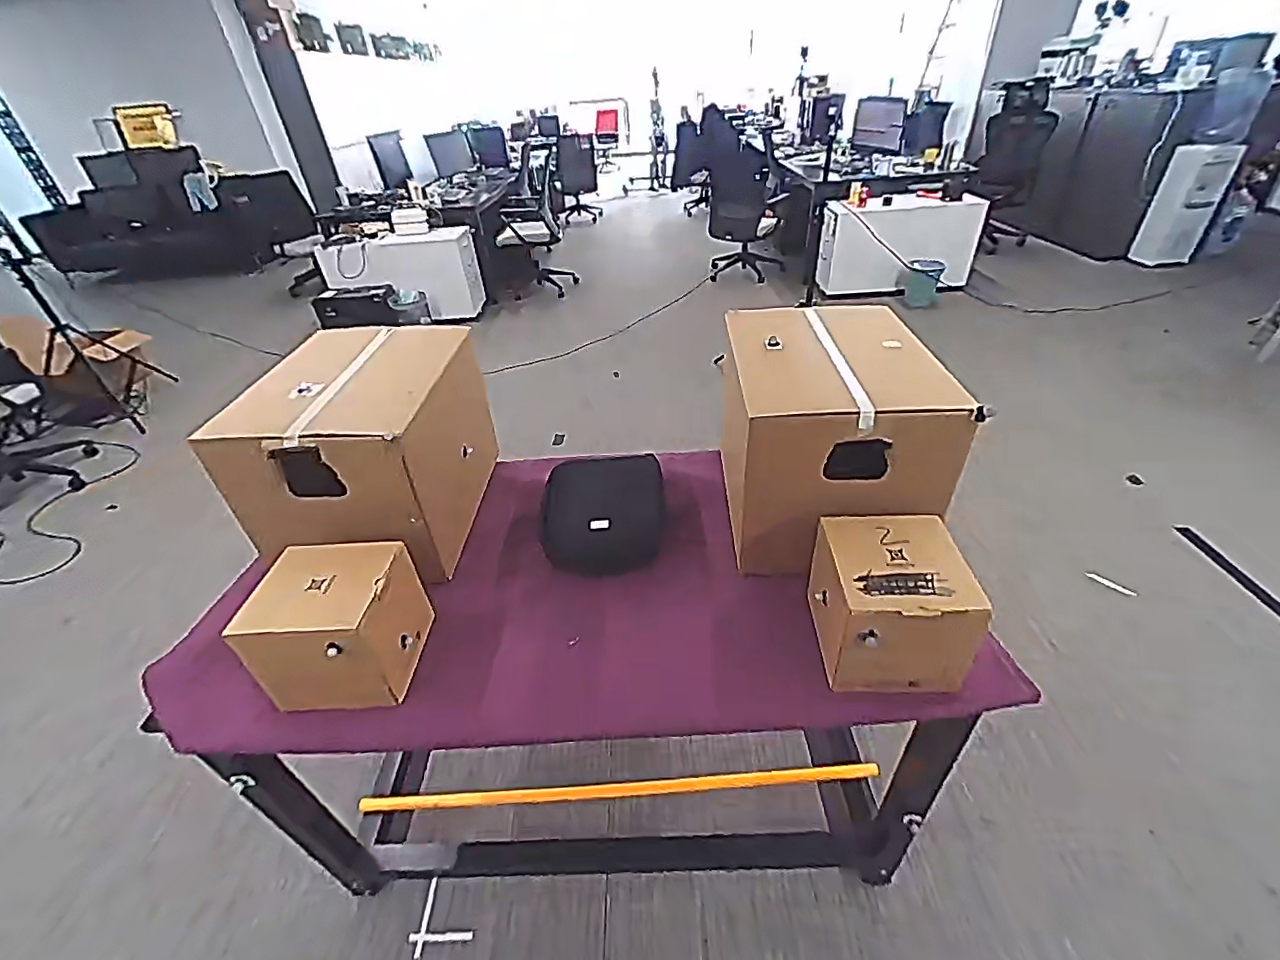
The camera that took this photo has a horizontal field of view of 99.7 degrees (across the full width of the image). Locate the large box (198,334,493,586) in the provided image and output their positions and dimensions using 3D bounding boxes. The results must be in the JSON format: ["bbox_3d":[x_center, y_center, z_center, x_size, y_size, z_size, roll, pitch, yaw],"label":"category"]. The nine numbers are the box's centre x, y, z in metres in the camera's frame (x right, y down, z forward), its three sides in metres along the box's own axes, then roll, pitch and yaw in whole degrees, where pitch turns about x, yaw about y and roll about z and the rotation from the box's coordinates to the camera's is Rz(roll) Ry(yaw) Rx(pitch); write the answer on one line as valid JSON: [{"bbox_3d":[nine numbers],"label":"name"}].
[{"bbox_3d":[-0.491,-0.048,1.026,0.320,0.320,0.408,-2,39,1],"label":"large box"}]

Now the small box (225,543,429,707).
[{"bbox_3d":[-0.436,0.212,0.790,0.179,0.176,0.168,-3,35,1],"label":"small box"}]
